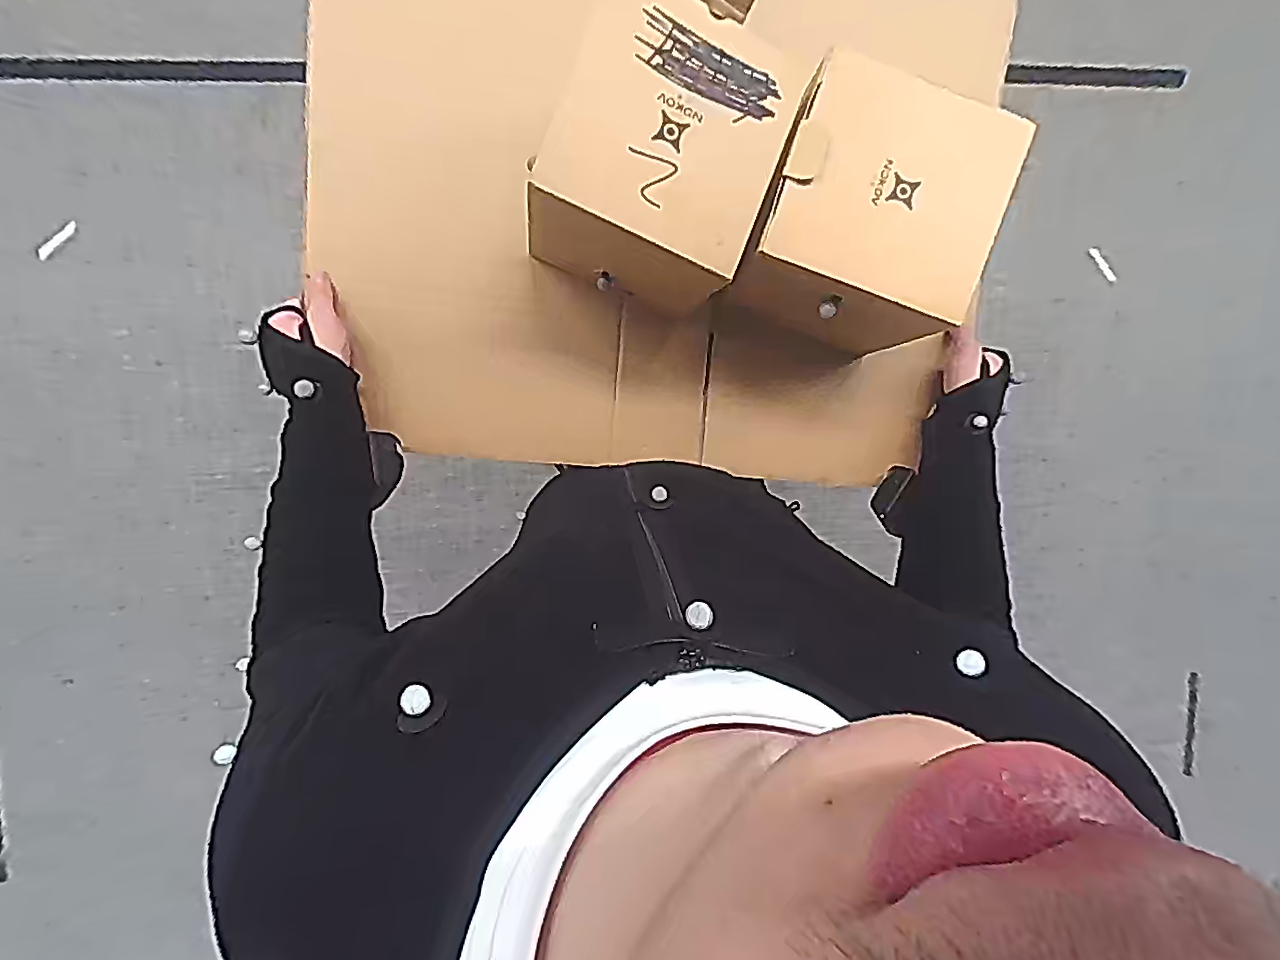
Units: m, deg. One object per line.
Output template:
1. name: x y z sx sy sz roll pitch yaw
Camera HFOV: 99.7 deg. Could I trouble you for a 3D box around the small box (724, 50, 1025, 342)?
1. small box: 0.198 -0.240 0.512 0.179 0.176 0.168 19 94 -4
